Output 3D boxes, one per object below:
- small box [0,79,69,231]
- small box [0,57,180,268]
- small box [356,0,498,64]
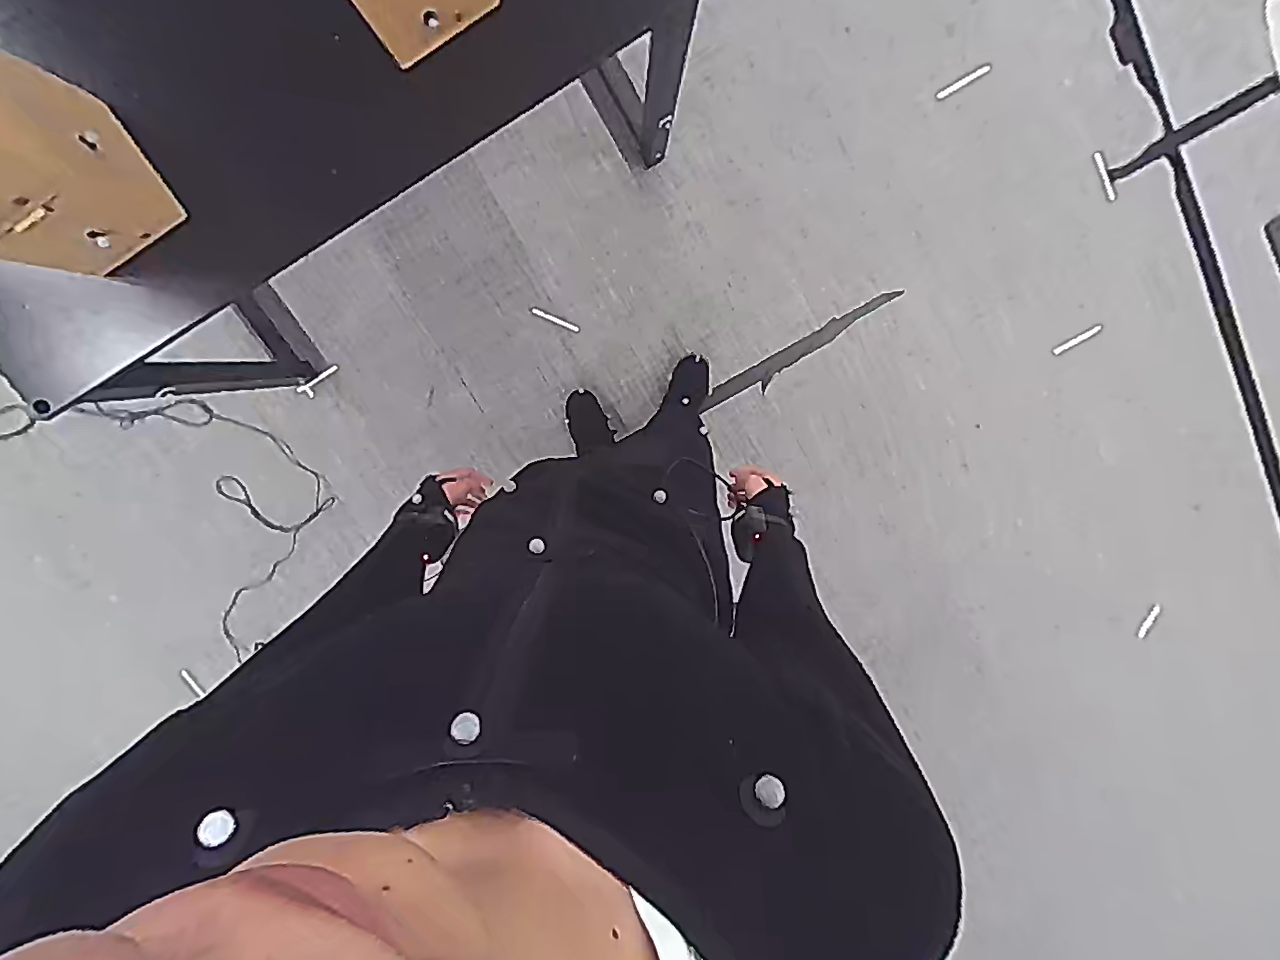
[{"bbox_3d":[-0.751,-0.359,0.525,0.168,0.176,0.179,-31,102,5],"label":"small box"},{"bbox_3d":[-0.758,-0.391,0.686,0.168,0.176,0.179,-32,102,4],"label":"small box"},{"bbox_3d":[-0.298,-0.666,0.651,0.168,0.176,0.179,-31,102,4],"label":"small box"}]
